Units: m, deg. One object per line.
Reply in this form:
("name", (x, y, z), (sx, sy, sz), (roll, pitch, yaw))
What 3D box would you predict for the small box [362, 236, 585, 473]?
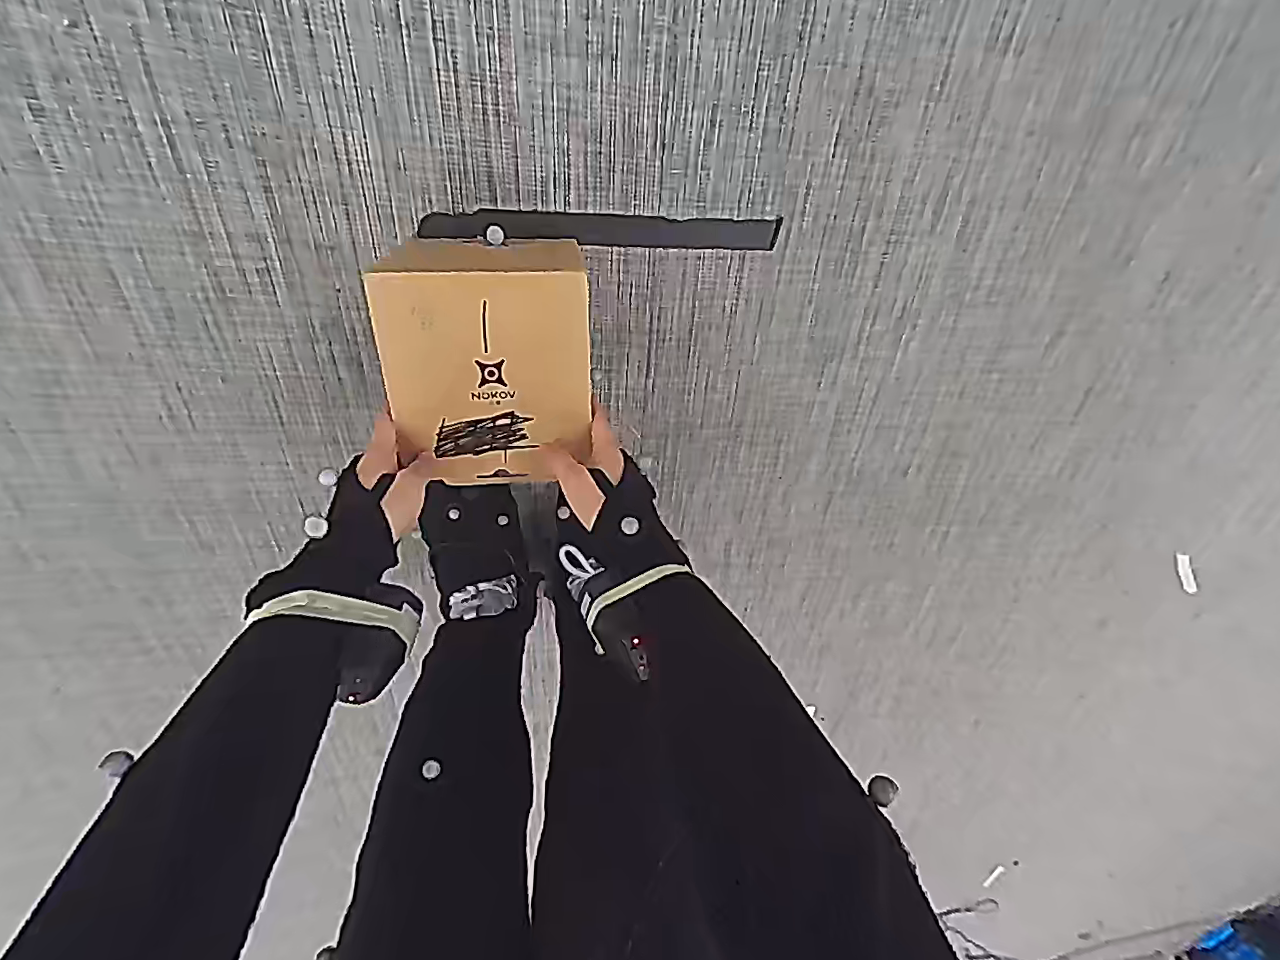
("small box", (-0.139, -0.125, 0.517), (0.168, 0.176, 0.179), (-3, 122, -9))
